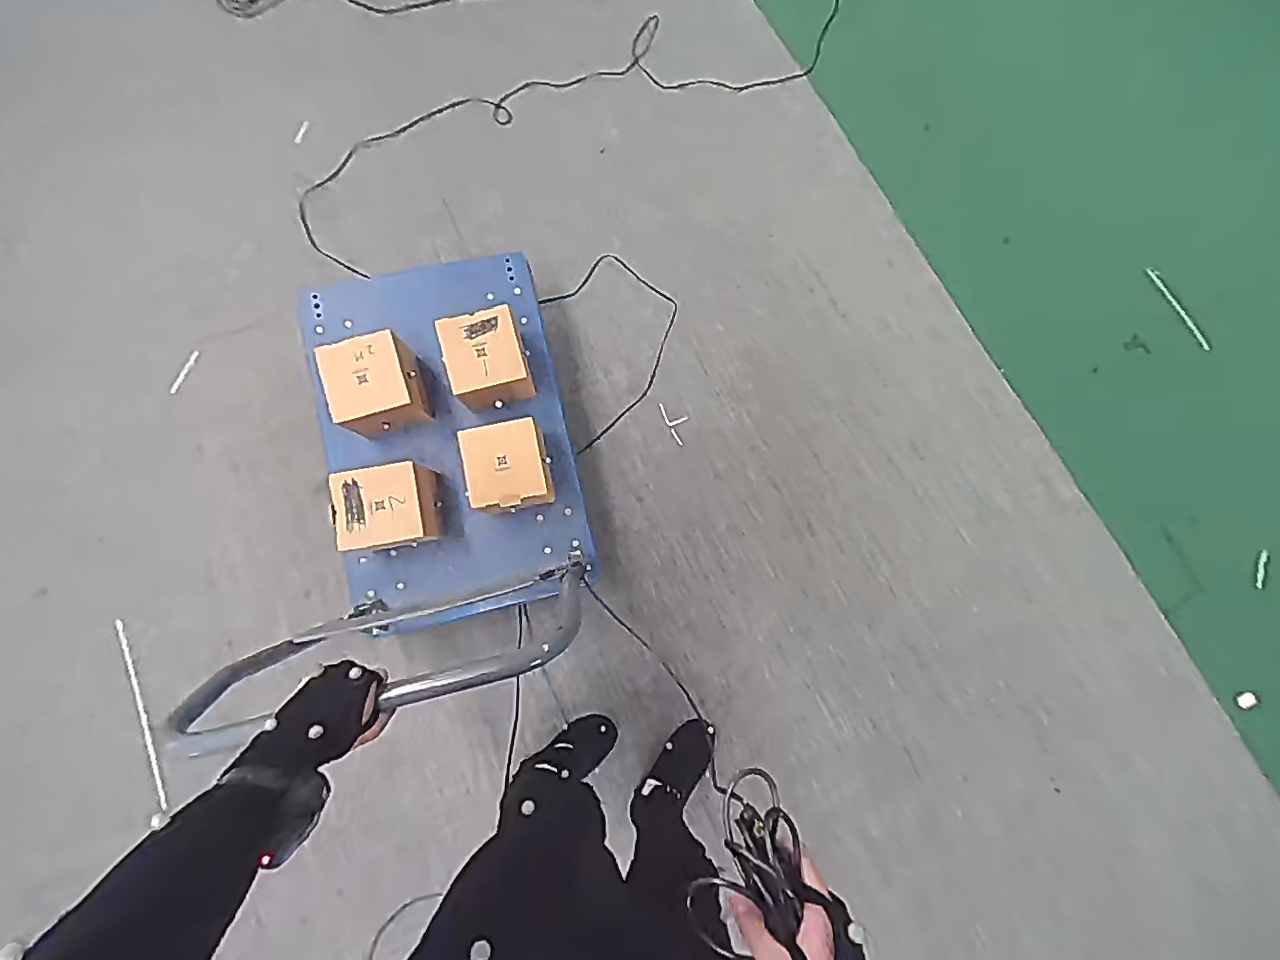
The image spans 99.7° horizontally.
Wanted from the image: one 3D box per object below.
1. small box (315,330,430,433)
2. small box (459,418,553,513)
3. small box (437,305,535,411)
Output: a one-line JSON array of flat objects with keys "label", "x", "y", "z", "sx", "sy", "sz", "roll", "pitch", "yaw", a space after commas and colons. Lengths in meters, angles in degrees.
[{"label": "small box", "x": -0.597, "y": -0.213, "z": 1.230, "sx": 0.168, "sy": 0.176, "sz": 0.179, "roll": -17, "pitch": 85, "yaw": -6}, {"label": "small box", "x": -0.298, "y": -0.027, "z": 1.232, "sx": 0.168, "sy": 0.176, "sz": 0.179, "roll": -12, "pitch": 85, "yaw": -5}, {"label": "small box", "x": -0.350, "y": -0.277, "z": 1.255, "sx": 0.168, "sy": 0.176, "sz": 0.179, "roll": -15, "pitch": 85, "yaw": -5}]
